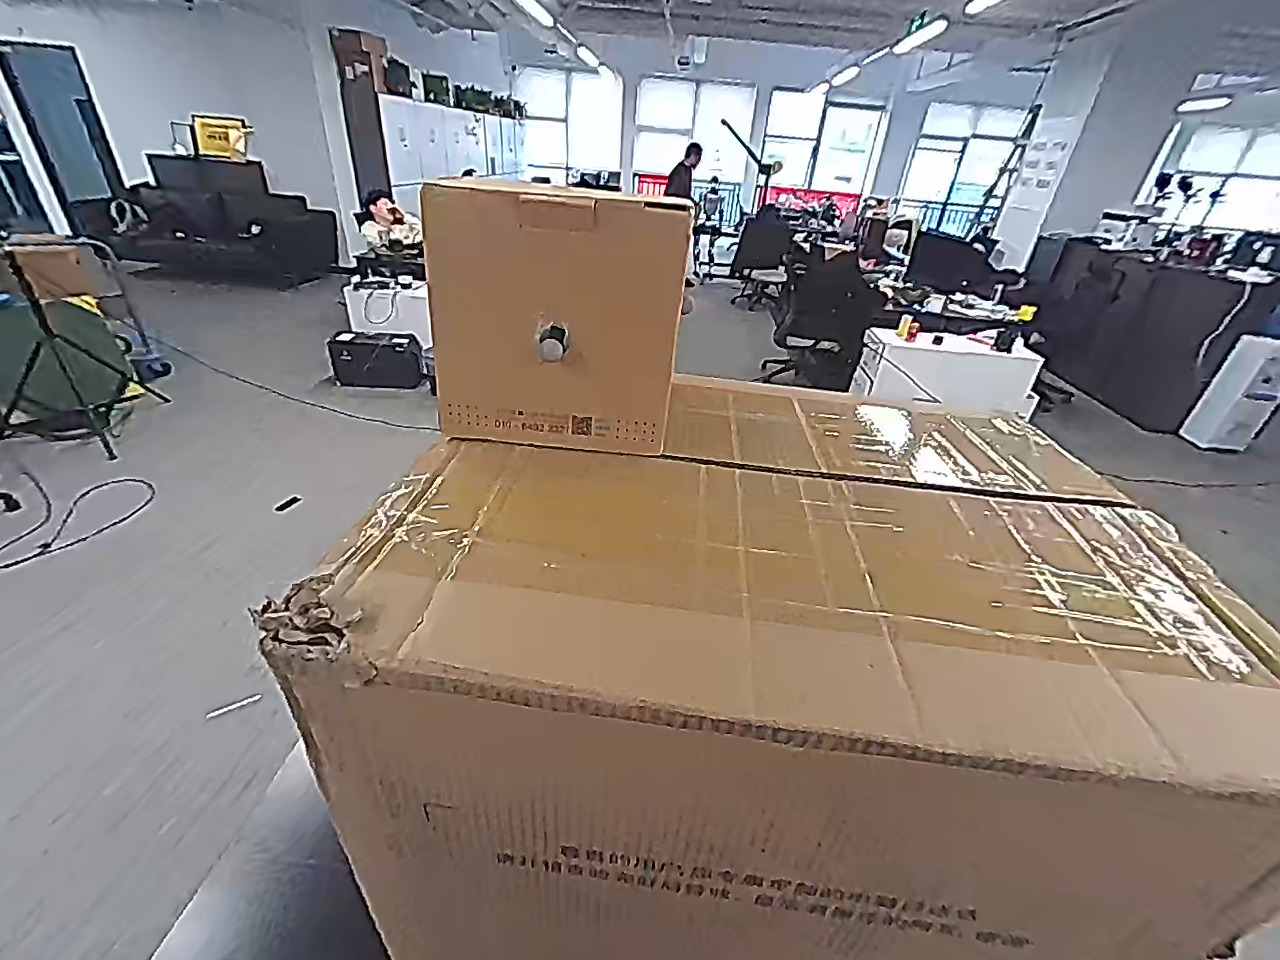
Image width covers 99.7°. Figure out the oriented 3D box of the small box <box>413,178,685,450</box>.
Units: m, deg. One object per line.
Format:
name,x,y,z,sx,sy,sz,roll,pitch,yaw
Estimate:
small box,-0.056,-0.135,0.428,0.168,0.176,0.179,5,30,-1
